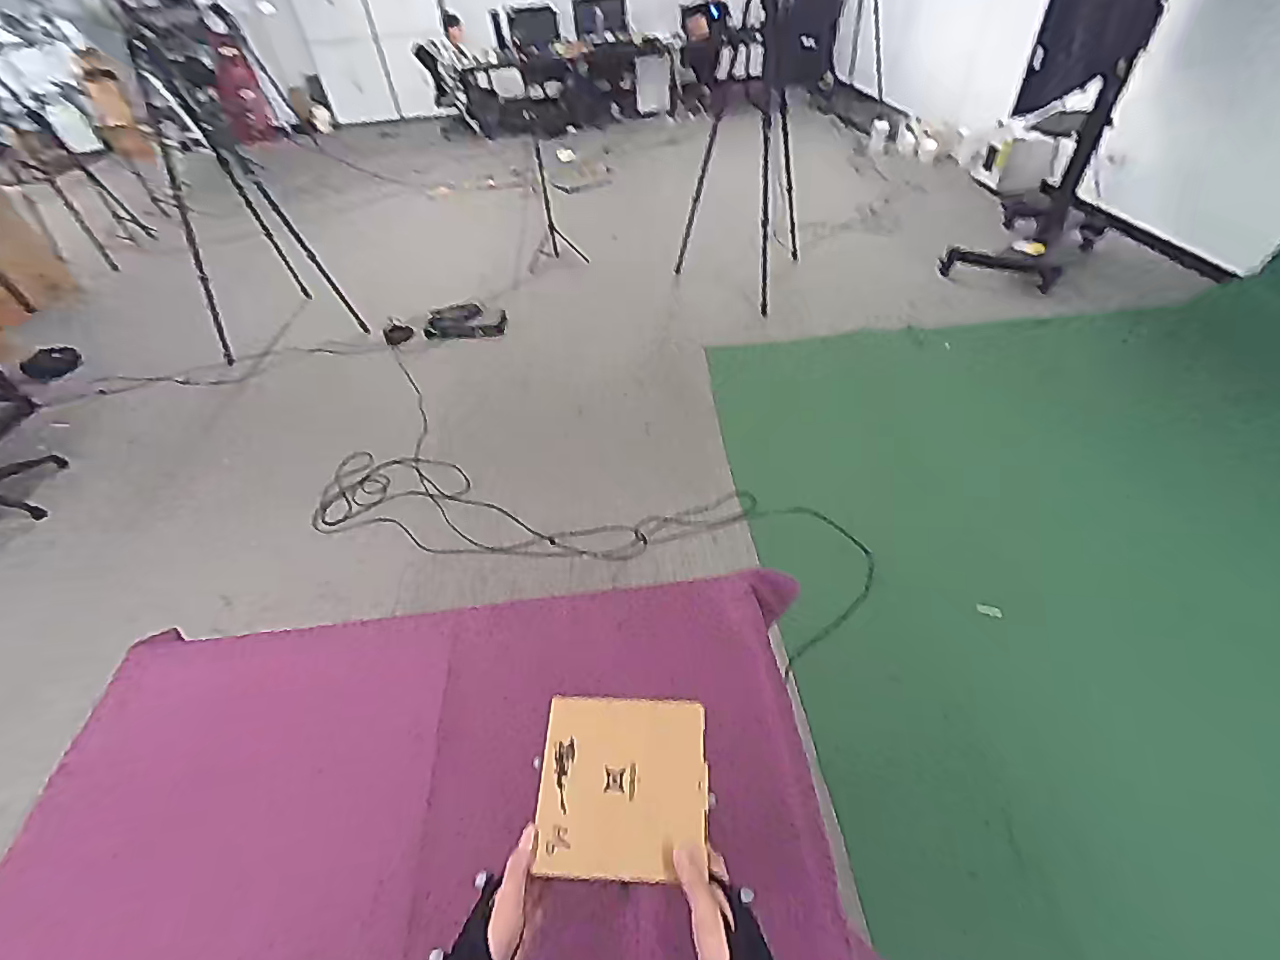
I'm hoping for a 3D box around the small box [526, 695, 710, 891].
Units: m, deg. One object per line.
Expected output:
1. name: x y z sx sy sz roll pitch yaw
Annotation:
1. small box: -0.016 0.359 0.617 0.179 0.176 0.168 3 51 3
